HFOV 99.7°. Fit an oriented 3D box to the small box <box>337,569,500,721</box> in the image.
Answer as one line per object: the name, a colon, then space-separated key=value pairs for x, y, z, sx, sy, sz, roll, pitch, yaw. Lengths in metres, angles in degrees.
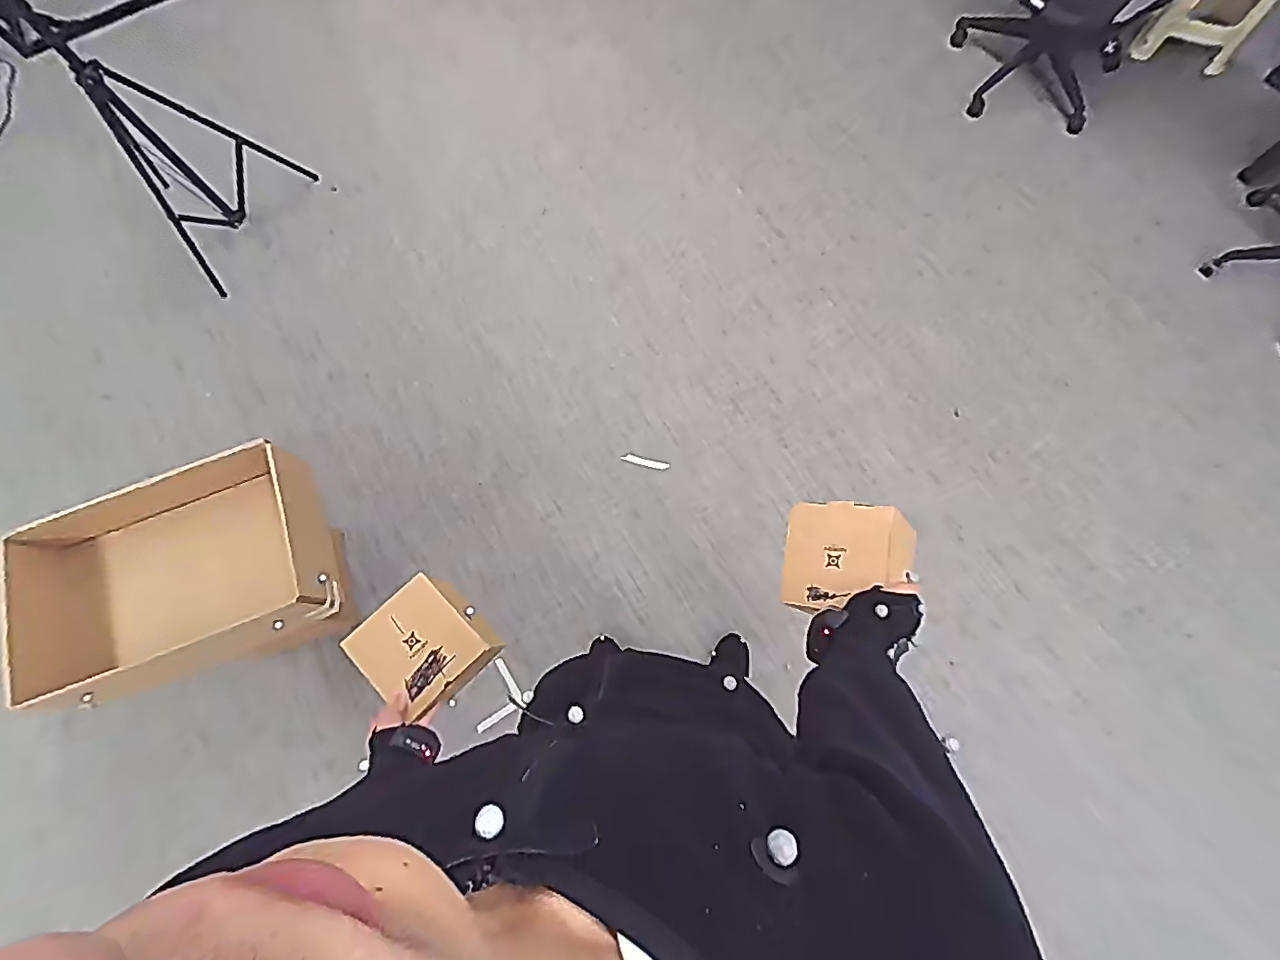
small box: x=-0.366 y=0.277 z=0.932 sx=0.179 sy=0.176 sz=0.168 roll=44 pitch=76 yaw=9

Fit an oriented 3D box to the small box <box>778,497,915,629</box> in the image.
small box: x=0.353 y=0.139 z=0.907 sx=0.168 sy=0.176 sz=0.179 roll=1 pitch=71 yaw=39
